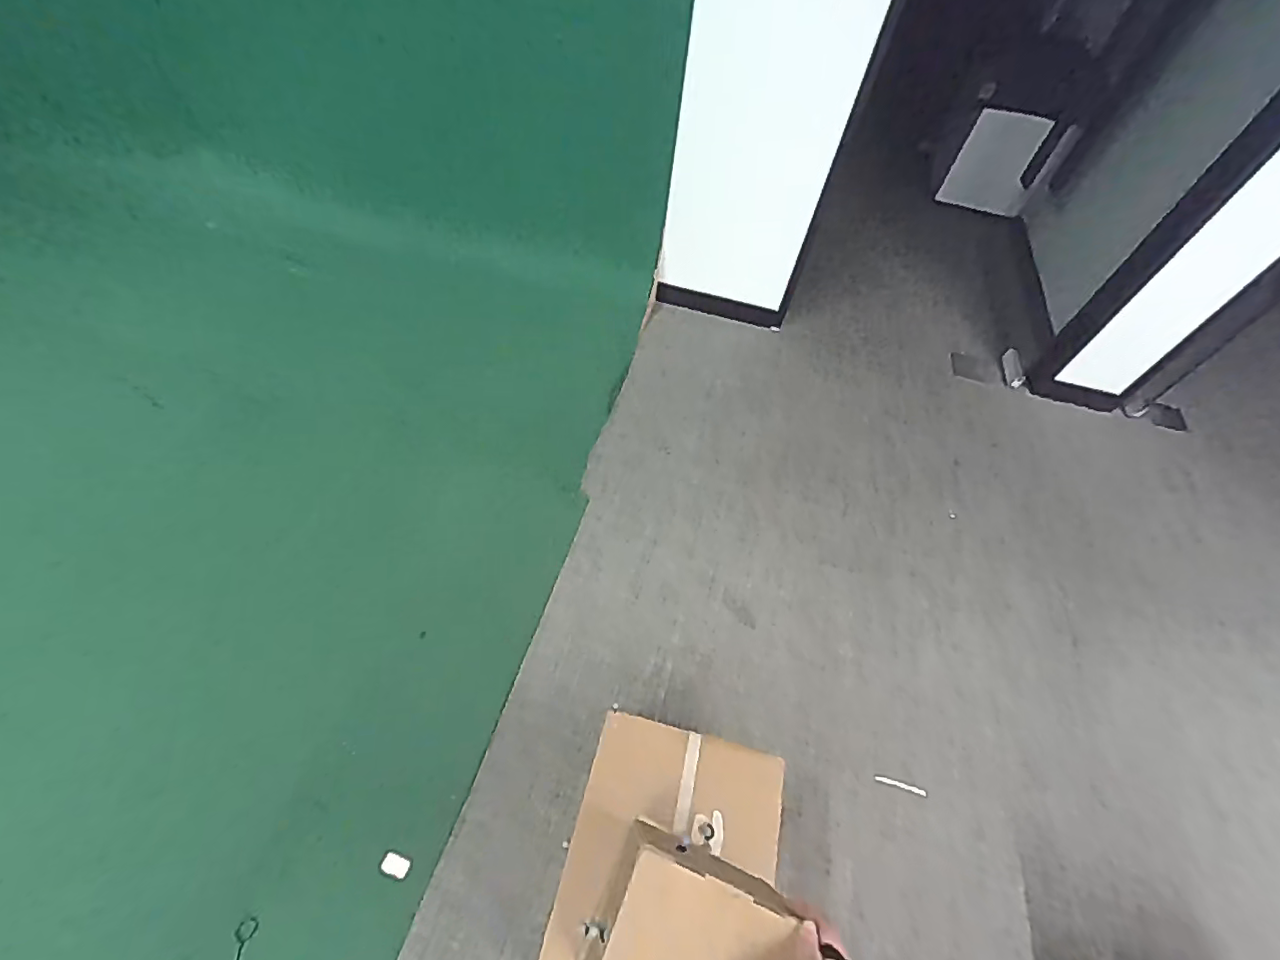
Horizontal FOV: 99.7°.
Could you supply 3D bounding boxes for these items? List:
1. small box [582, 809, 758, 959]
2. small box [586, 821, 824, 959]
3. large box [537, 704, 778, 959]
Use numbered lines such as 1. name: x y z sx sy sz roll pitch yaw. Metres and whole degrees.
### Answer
1. small box: 0.033 0.565 0.705 0.168 0.176 0.179 23 57 11
2. small box: 0.044 0.451 0.503 0.168 0.176 0.179 22 67 7
3. large box: 0.032 0.665 0.934 0.320 0.320 0.408 14 54 4
